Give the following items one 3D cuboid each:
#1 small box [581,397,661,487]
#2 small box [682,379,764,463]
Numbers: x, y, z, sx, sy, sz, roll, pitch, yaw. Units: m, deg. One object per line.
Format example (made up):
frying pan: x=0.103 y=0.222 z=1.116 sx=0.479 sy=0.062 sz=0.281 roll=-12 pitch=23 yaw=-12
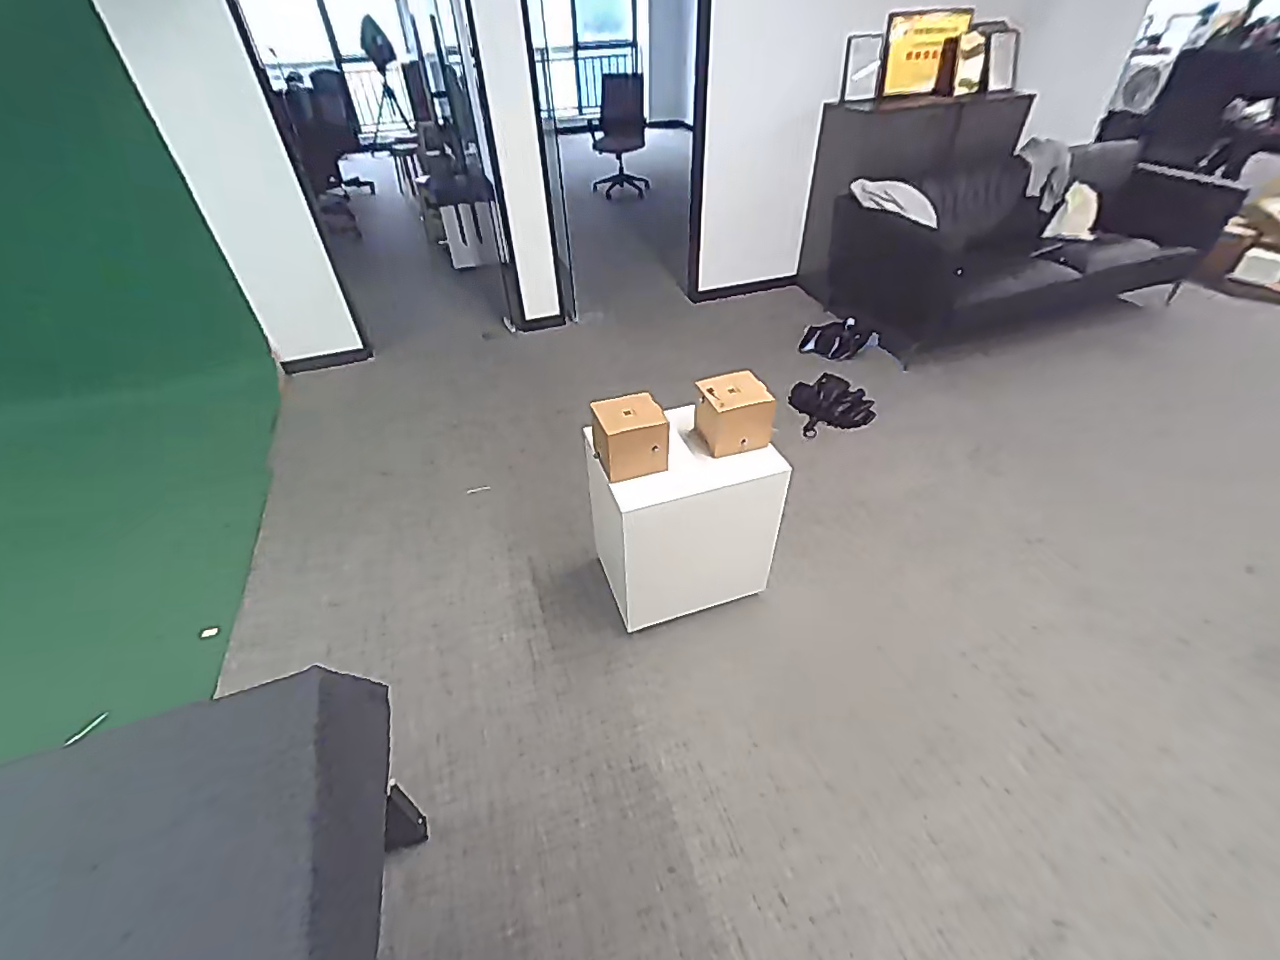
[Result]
small box: x=-0.057 y=-0.105 z=1.494 sx=0.179 sy=0.176 sz=0.168 roll=-14 pitch=41 yaw=-18
small box: x=0.236 y=-0.171 z=1.581 sx=0.179 sy=0.176 sz=0.168 roll=-12 pitch=42 yaw=-15
